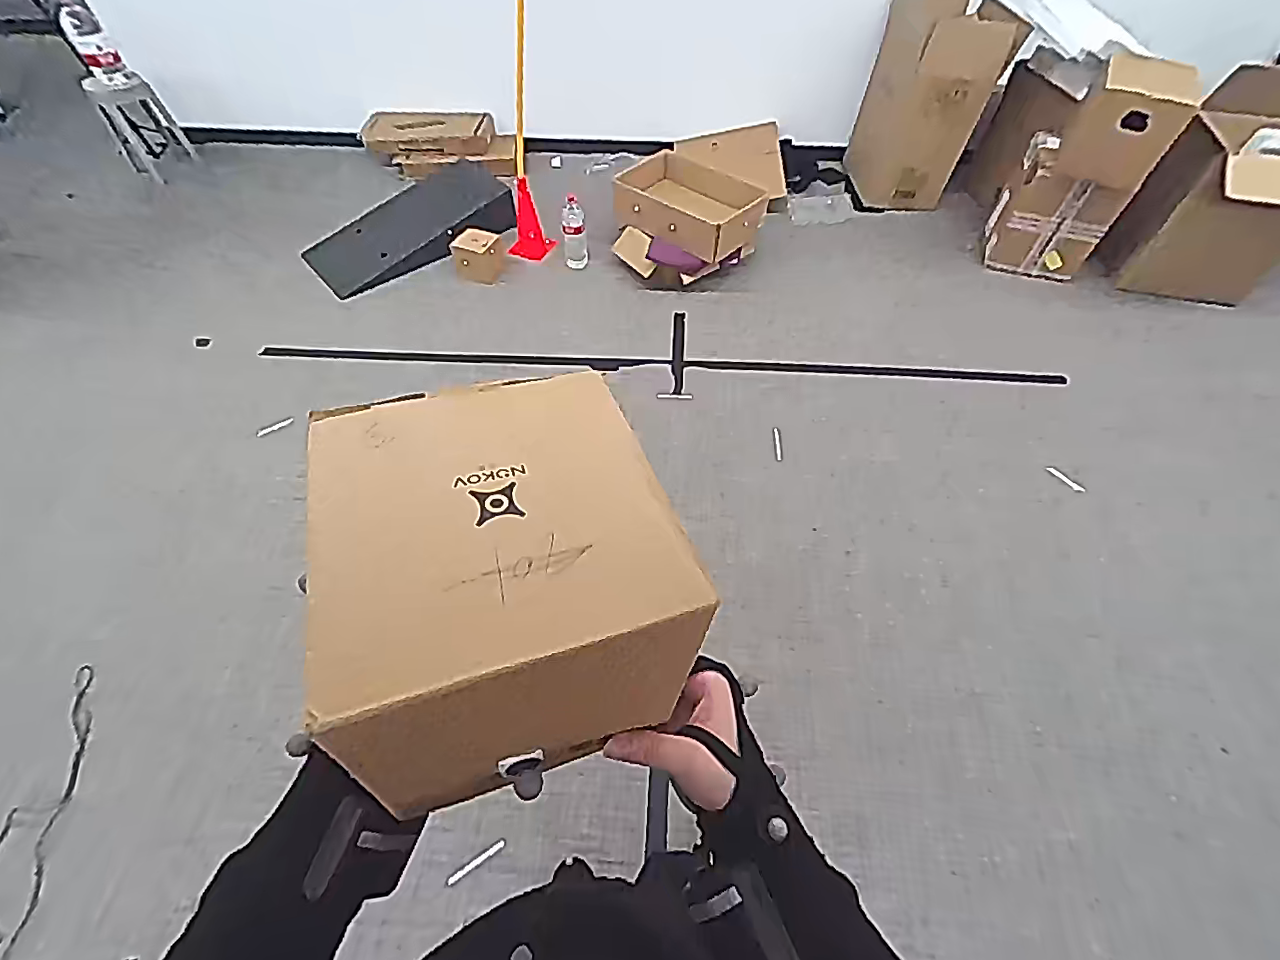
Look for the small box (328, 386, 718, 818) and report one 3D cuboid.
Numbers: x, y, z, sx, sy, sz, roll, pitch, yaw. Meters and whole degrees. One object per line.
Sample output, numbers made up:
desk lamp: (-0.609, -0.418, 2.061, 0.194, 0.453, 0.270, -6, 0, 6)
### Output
small box: (-0.077, 0.070, 0.335, 0.168, 0.176, 0.179, -14, 51, -19)
